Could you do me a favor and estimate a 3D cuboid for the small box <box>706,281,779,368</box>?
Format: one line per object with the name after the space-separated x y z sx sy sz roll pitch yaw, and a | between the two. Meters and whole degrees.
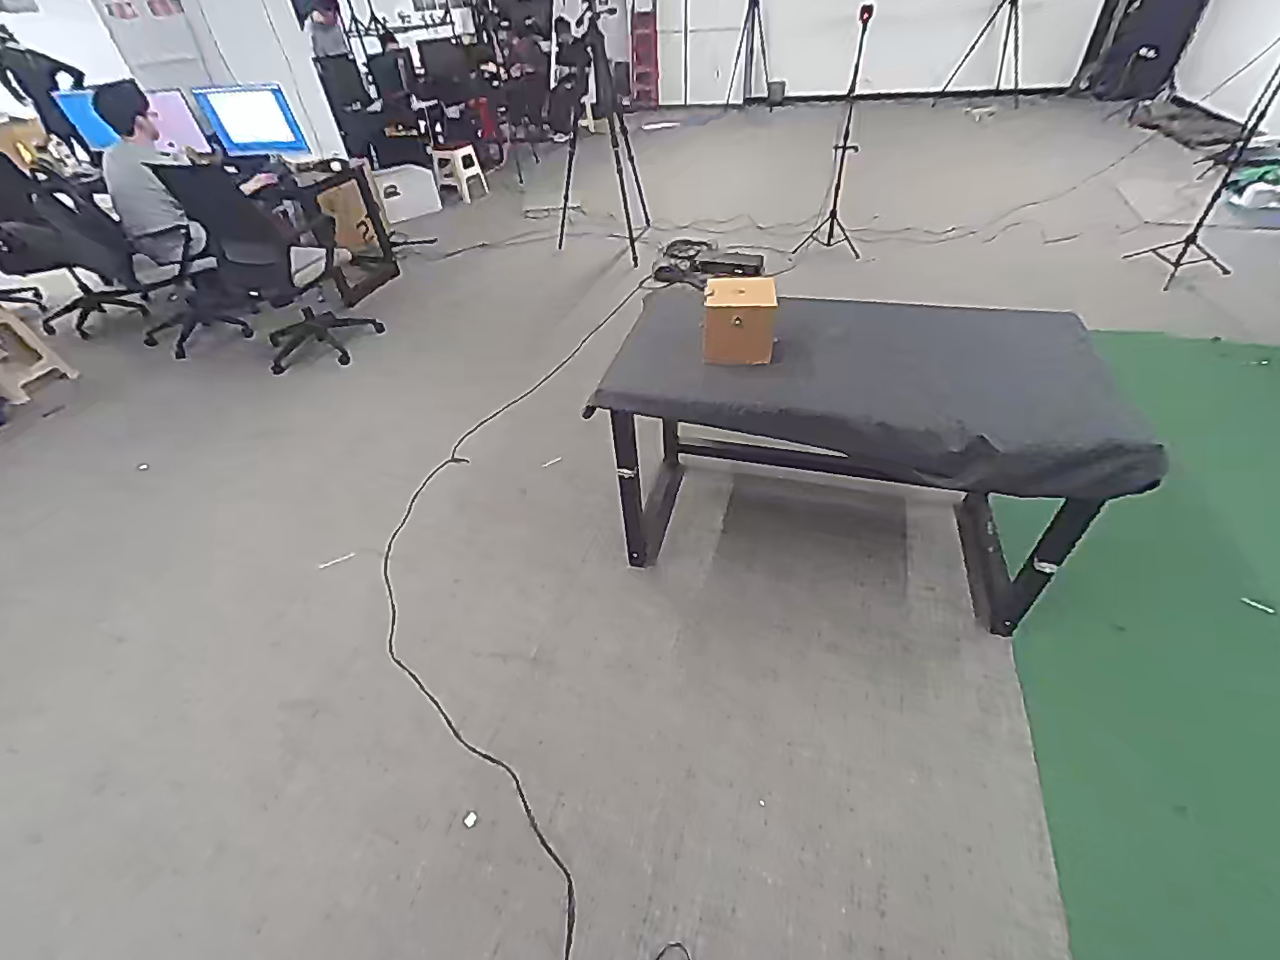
0.265 -0.409 1.425 0.179 0.176 0.168 3 44 7 | small box
